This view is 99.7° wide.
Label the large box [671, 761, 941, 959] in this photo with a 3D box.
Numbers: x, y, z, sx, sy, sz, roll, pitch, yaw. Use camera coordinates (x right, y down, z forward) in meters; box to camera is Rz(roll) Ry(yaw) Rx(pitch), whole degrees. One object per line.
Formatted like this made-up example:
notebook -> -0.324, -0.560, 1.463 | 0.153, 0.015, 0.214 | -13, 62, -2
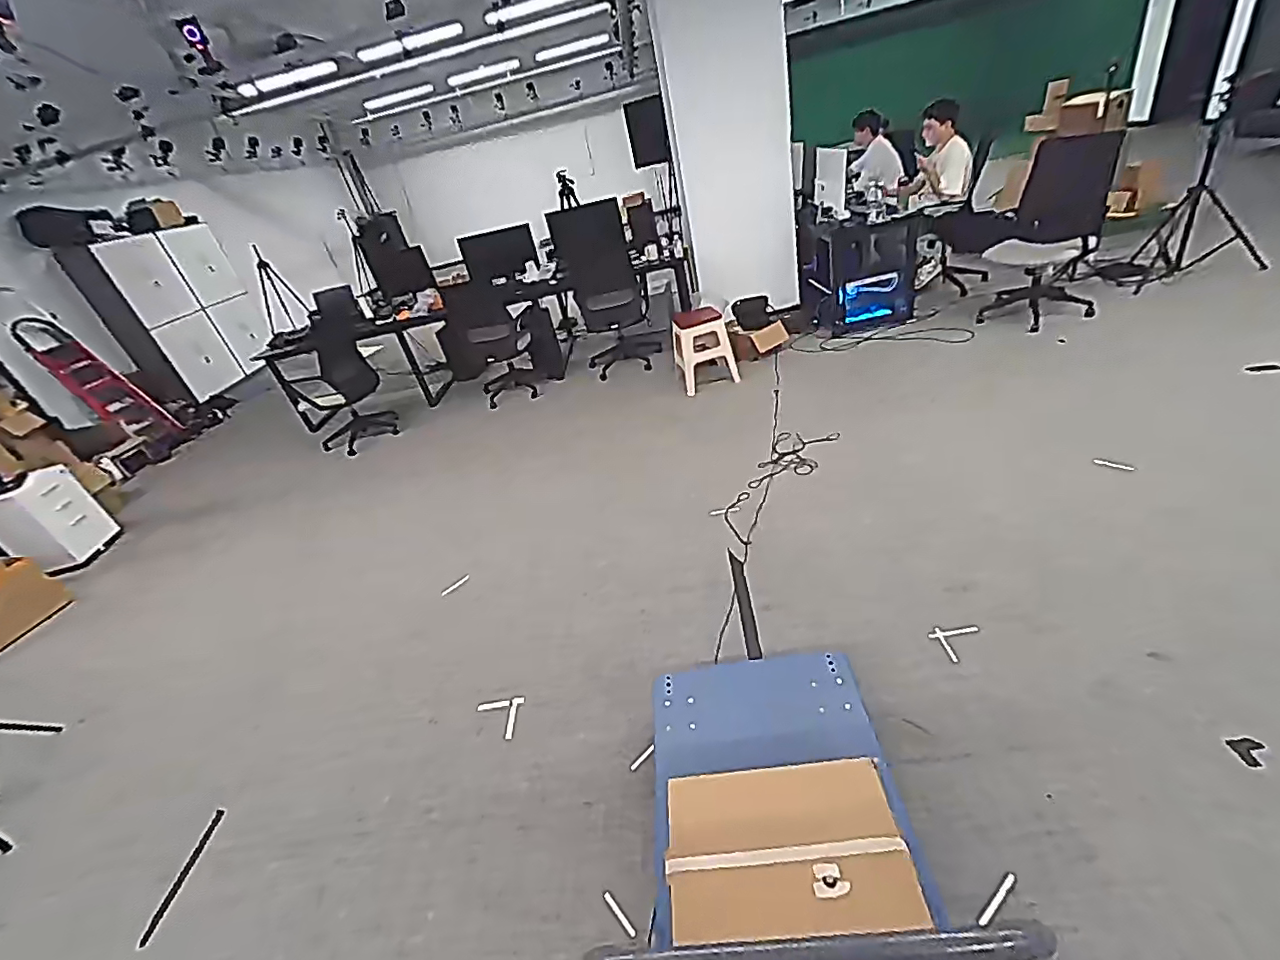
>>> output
large box -> 0.286, 0.790, 1.025 | 0.408, 0.320, 0.320 | -10, 32, 6
